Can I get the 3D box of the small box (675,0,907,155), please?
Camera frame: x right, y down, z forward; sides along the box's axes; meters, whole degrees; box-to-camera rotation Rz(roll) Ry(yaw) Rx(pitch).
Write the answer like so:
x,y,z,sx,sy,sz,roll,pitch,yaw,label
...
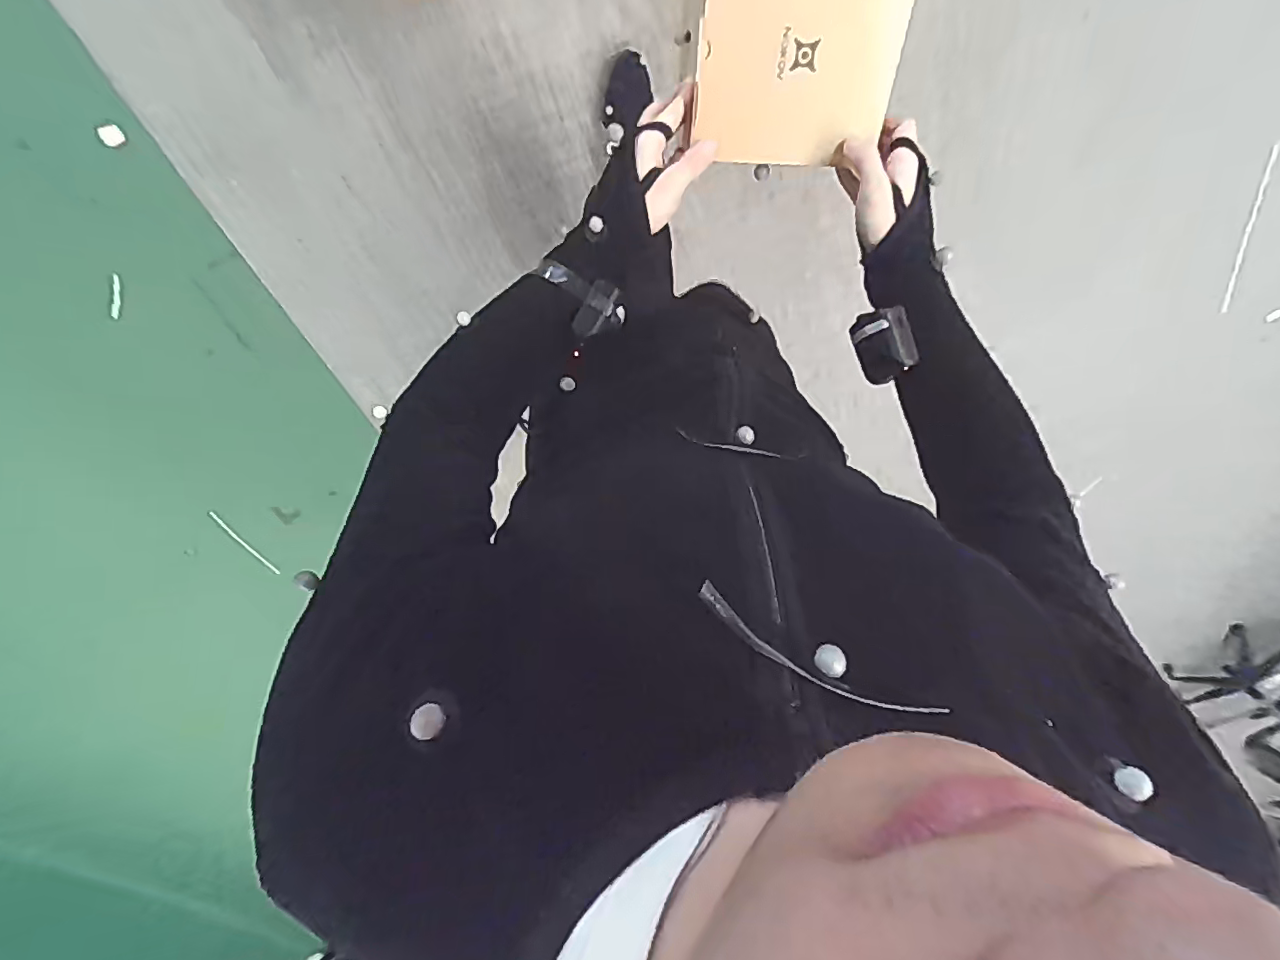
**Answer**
x,y,z,sx,sy,sz,roll,pitch,yaw,label
0.132,-0.425,0.526,0.179,0.176,0.168,1,127,-2,small box
